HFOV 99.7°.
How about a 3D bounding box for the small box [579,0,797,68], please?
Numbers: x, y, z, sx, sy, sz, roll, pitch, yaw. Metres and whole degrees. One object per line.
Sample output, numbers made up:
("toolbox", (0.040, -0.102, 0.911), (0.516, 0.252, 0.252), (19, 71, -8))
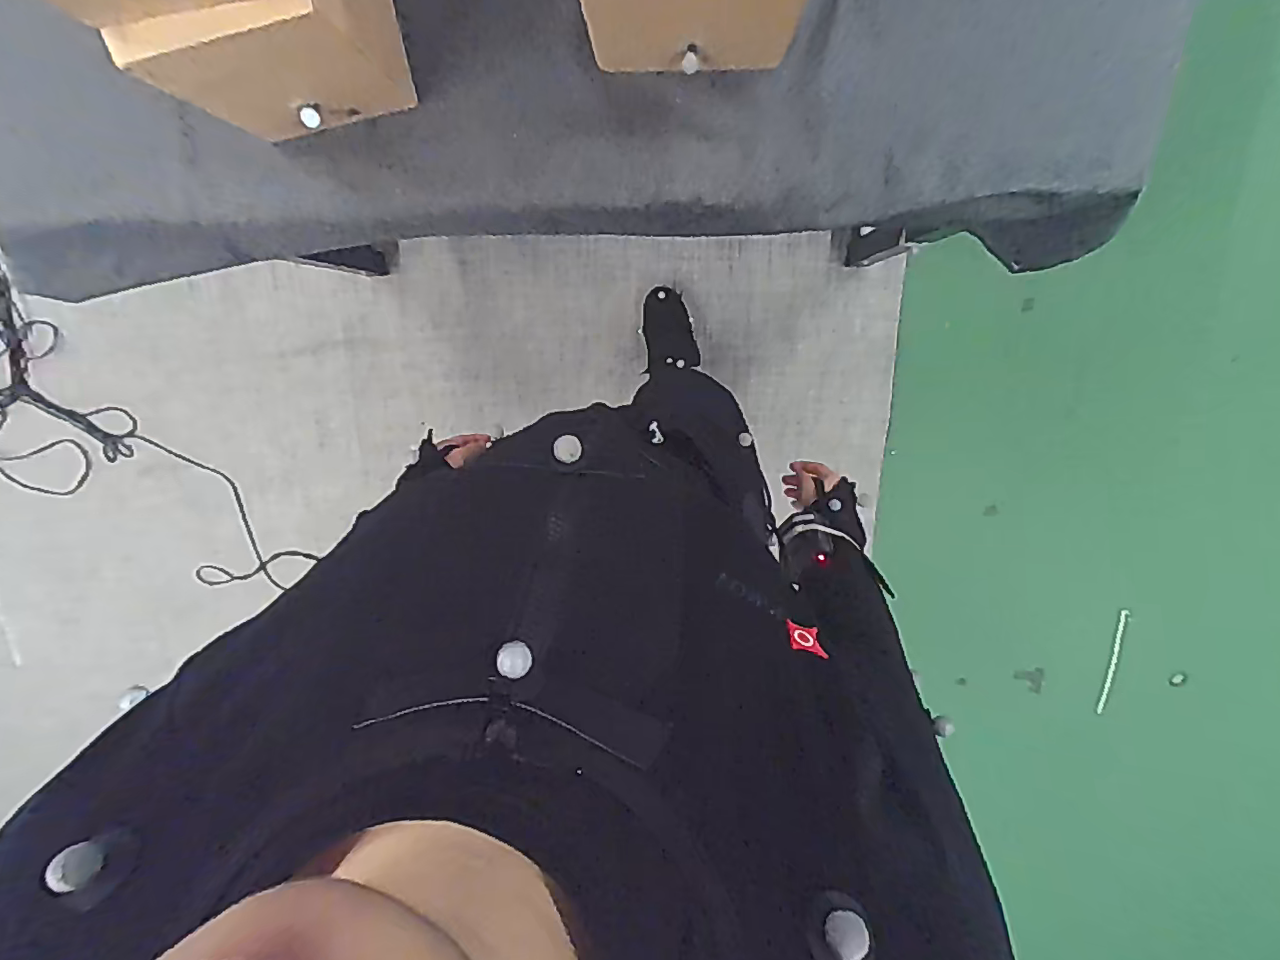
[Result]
("small box", (0.040, -0.452, 0.419), (0.179, 0.176, 0.168), (1, 105, 2))

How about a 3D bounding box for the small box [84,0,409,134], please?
("small box", (-0.322, -0.423, 0.444), (0.168, 0.176, 0.179), (-9, 105, 5))

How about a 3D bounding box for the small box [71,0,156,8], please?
("small box", (-0.326, -0.394, 0.283), (0.179, 0.176, 0.168), (-6, 106, 4))
